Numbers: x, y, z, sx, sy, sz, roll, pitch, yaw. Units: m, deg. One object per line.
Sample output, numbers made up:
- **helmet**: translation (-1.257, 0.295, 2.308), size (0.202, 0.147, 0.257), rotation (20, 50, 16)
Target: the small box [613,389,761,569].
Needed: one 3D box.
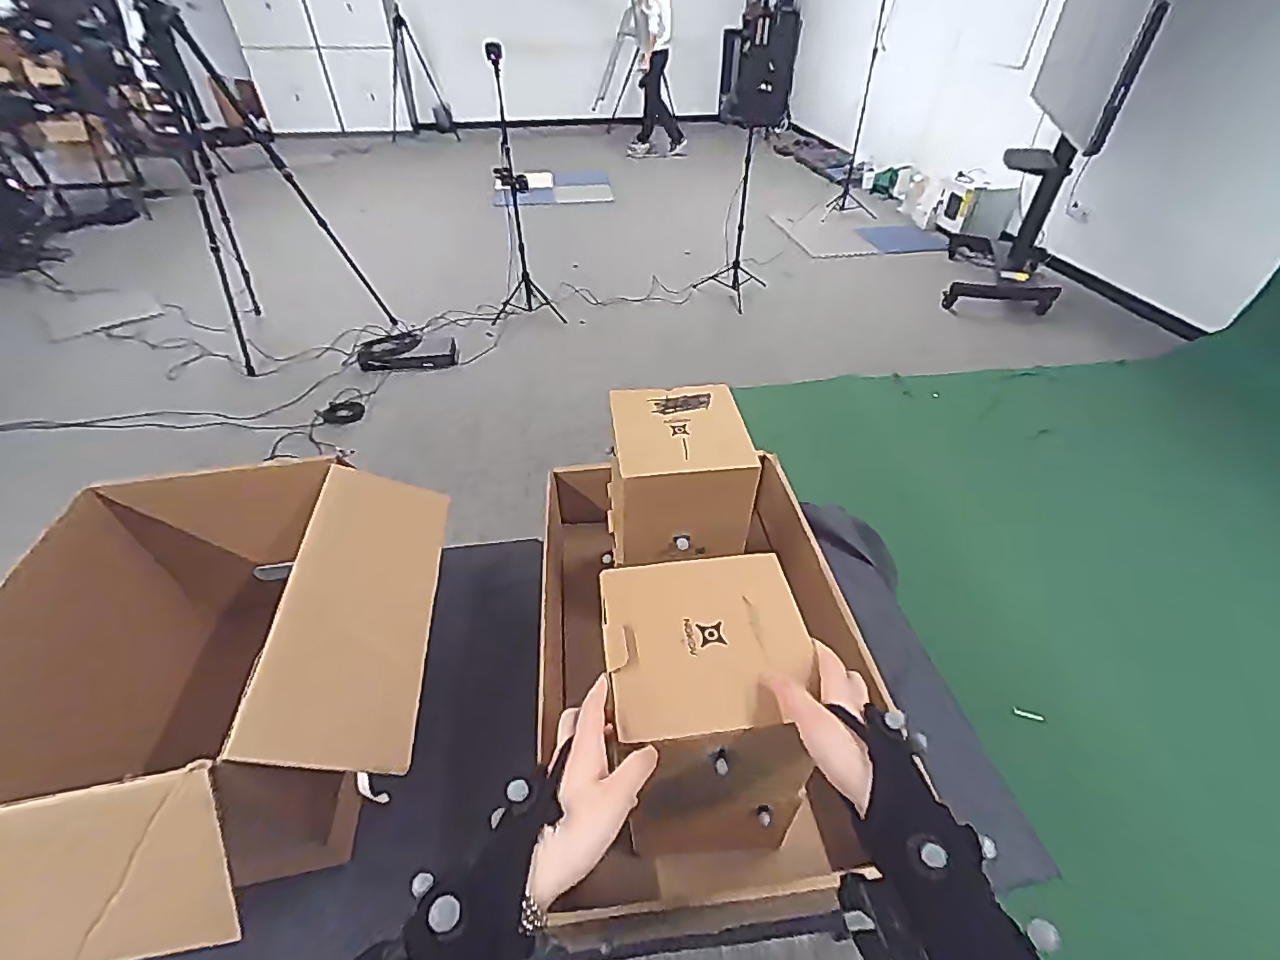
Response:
- **small box**: translation (0.050, -0.003, 0.733), size (0.168, 0.176, 0.179), rotation (-5, 44, -5)

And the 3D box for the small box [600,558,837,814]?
- **small box**: translation (0.058, 0.199, 0.521), size (0.179, 0.176, 0.168), rotation (-5, 43, -7)
